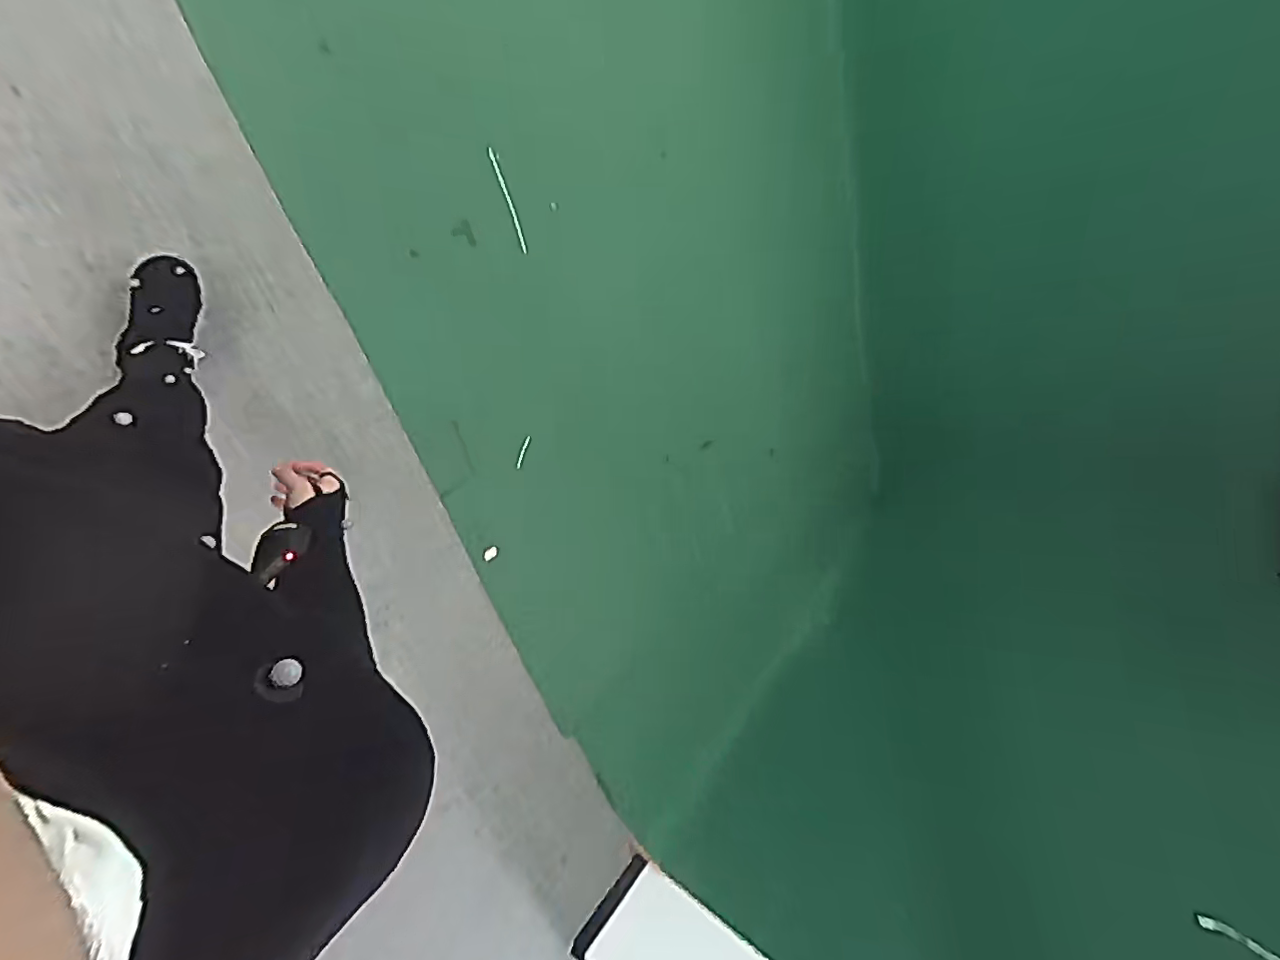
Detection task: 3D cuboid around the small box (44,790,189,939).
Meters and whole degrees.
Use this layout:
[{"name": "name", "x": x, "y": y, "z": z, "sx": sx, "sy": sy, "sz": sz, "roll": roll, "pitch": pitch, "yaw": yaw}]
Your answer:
[{"name": "small box", "x": -1.119, "y": 0.807, "z": 1.159, "sx": 0.168, "sy": 0.176, "sz": 0.179, "roll": -33, "pitch": 119, "yaw": -38}]
